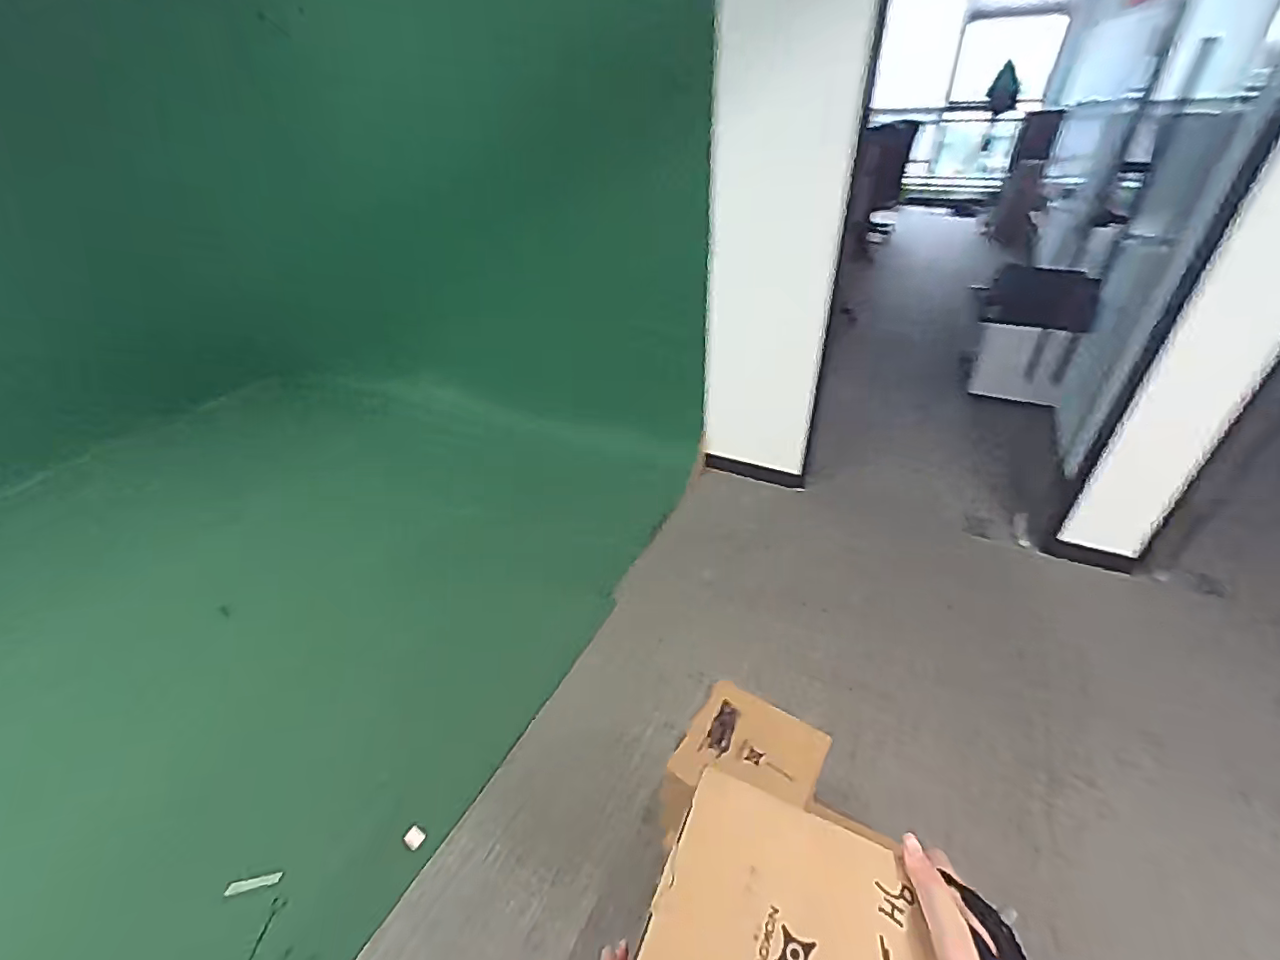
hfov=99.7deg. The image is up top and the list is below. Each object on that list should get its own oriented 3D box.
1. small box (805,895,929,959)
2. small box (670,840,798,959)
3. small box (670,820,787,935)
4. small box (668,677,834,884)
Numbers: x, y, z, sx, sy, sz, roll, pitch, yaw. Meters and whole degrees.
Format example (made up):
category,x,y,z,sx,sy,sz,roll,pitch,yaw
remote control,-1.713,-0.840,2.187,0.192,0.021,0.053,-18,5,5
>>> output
category,x,y,z,sx,sy,sz,roll,pitch,yaw
small box,0.284,0.696,0.688,0.168,0.176,0.179,23,43,31
small box,0.166,0.704,0.966,0.179,0.176,0.168,16,38,24
small box,0.156,0.571,0.872,0.168,0.176,0.179,17,40,25
small box,0.155,0.432,0.783,0.179,0.176,0.168,21,42,28
